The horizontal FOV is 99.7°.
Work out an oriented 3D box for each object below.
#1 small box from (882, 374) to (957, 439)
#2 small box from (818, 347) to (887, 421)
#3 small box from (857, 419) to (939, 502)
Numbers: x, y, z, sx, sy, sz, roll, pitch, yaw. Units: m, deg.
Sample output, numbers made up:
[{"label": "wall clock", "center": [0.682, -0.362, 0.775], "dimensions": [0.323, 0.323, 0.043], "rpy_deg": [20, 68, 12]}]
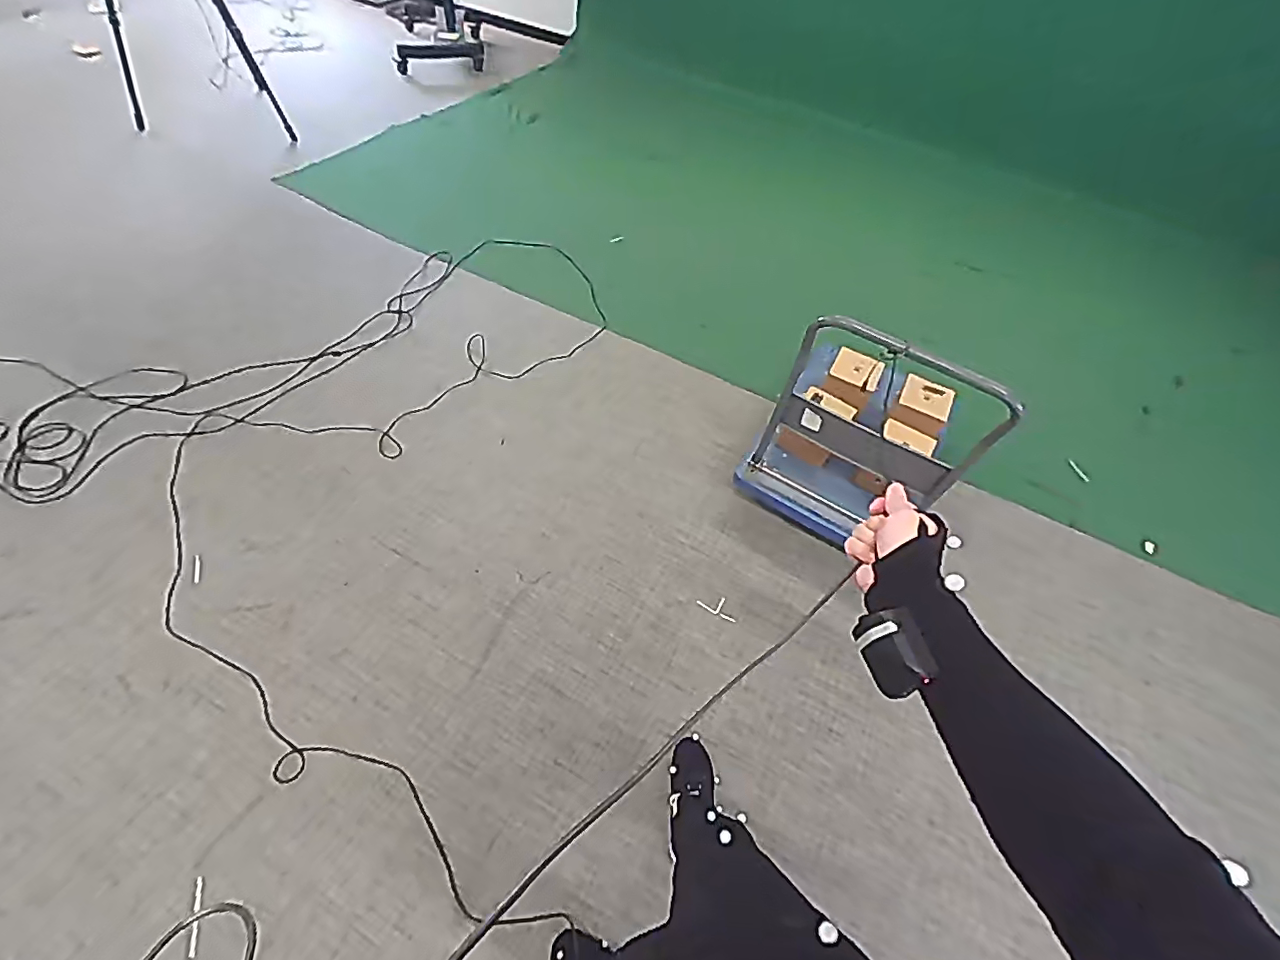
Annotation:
[{"label": "small box", "center": [0.993, -0.239, 1.930], "dimensions": [0.168, 0.176, 0.179], "rpy_deg": [26, 57, 14]}, {"label": "small box", "center": [0.773, -0.348, 1.987], "dimensions": [0.168, 0.176, 0.179], "rpy_deg": [27, 56, 13]}, {"label": "small box", "center": [0.847, -0.062, 1.787], "dimensions": [0.168, 0.176, 0.179], "rpy_deg": [31, 57, 16]}]
